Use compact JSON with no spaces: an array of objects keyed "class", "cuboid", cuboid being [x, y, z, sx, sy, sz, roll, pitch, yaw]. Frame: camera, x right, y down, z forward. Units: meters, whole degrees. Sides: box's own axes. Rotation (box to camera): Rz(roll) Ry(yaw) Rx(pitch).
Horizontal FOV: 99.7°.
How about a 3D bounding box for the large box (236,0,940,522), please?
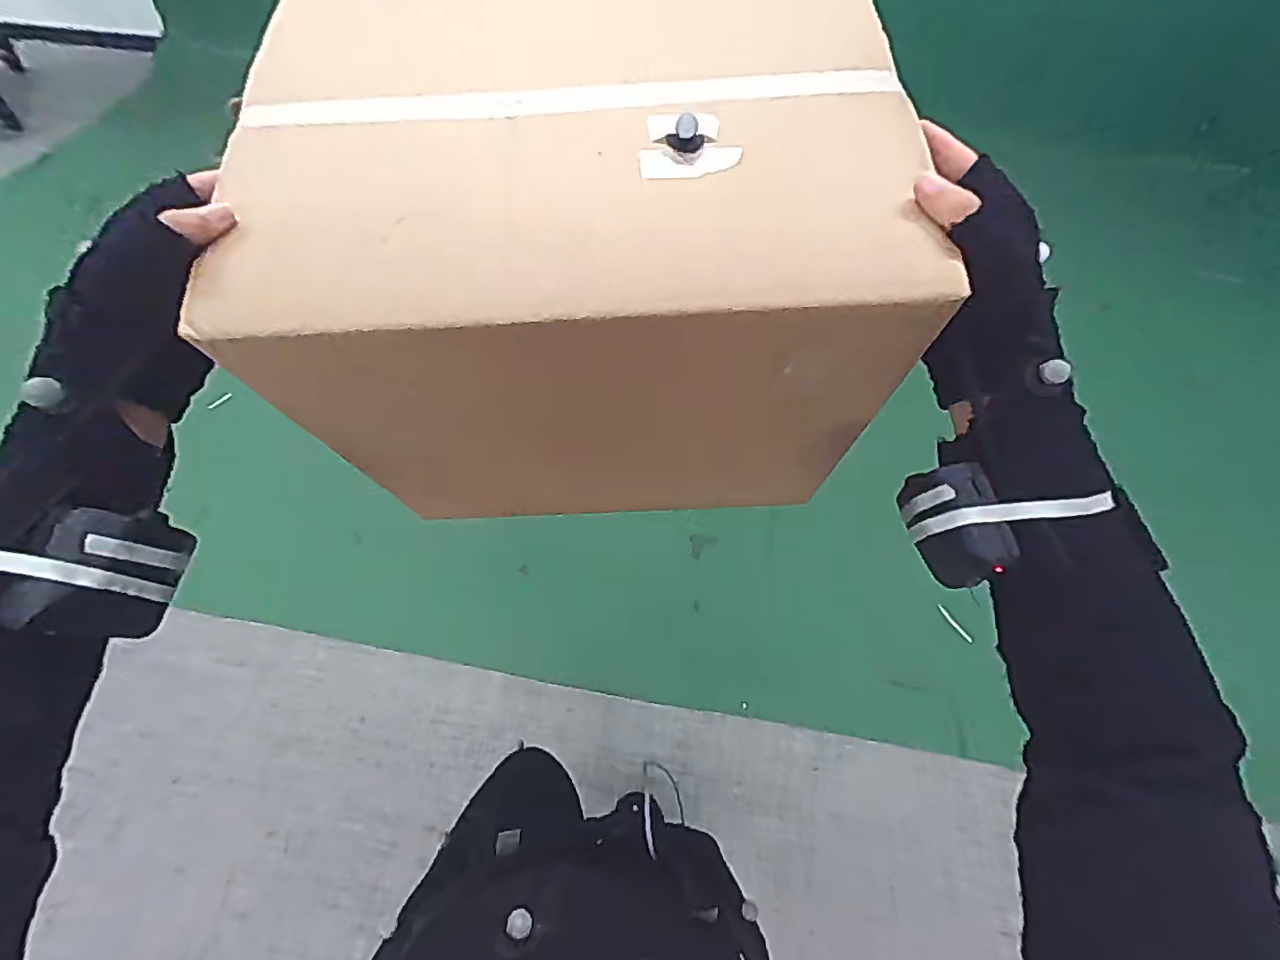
[{"class":"large box","cuboid":[-0.036,-0.163,0.494,0.408,0.320,0.320,-3,68,-1]}]
